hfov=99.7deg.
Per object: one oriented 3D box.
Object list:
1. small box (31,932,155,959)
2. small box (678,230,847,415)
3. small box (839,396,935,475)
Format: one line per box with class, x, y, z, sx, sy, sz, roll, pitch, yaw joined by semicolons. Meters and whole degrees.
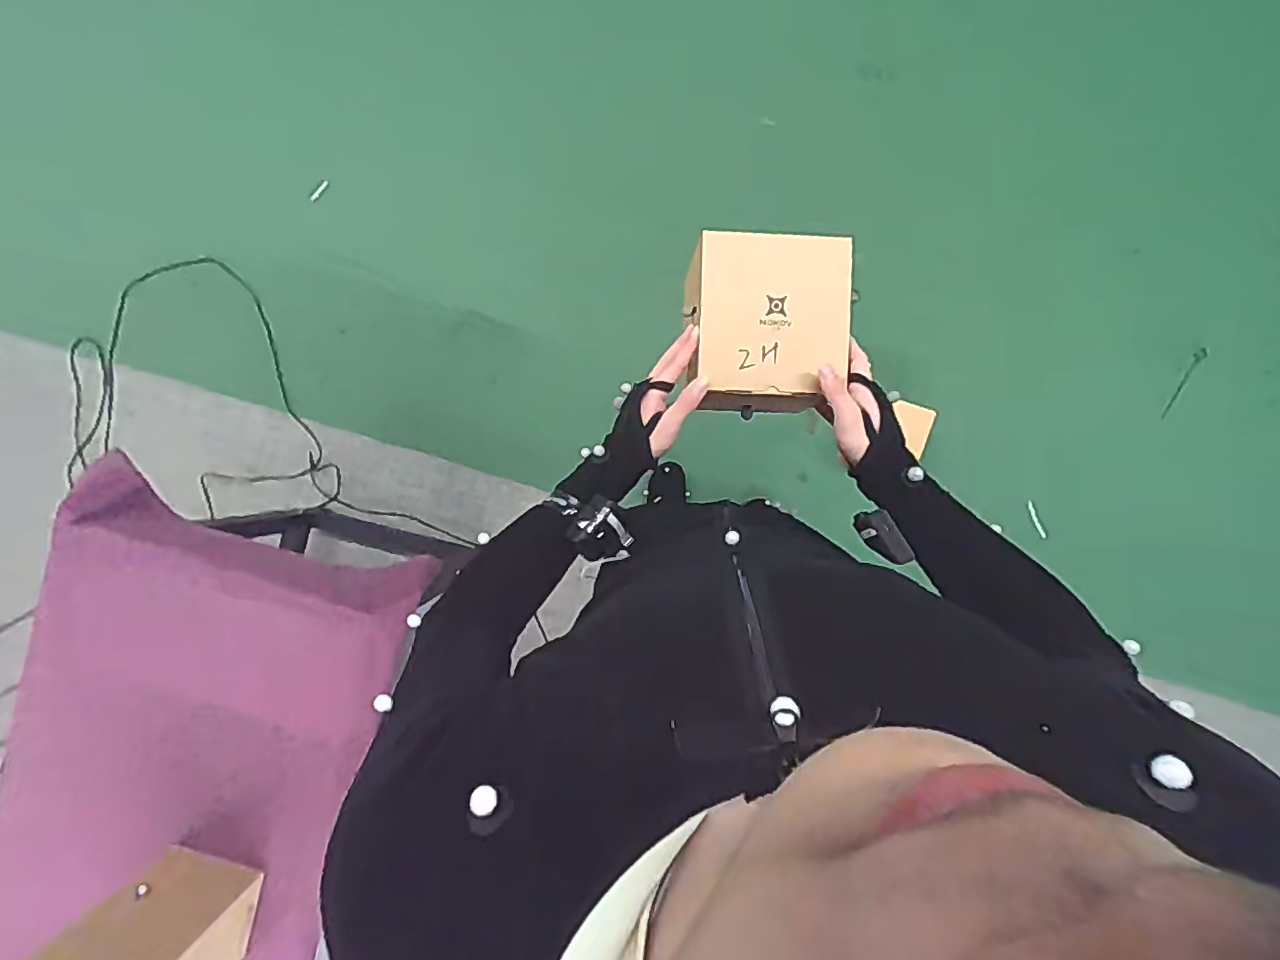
small box;-0.792;0.762;0.720;0.179;0.176;0.168;16;92;3
small box;0.138;-0.180;0.664;0.168;0.176;0.179;2;91;-2
small box;0.691;-0.122;1.535;0.168;0.176;0.179;19;92;1
